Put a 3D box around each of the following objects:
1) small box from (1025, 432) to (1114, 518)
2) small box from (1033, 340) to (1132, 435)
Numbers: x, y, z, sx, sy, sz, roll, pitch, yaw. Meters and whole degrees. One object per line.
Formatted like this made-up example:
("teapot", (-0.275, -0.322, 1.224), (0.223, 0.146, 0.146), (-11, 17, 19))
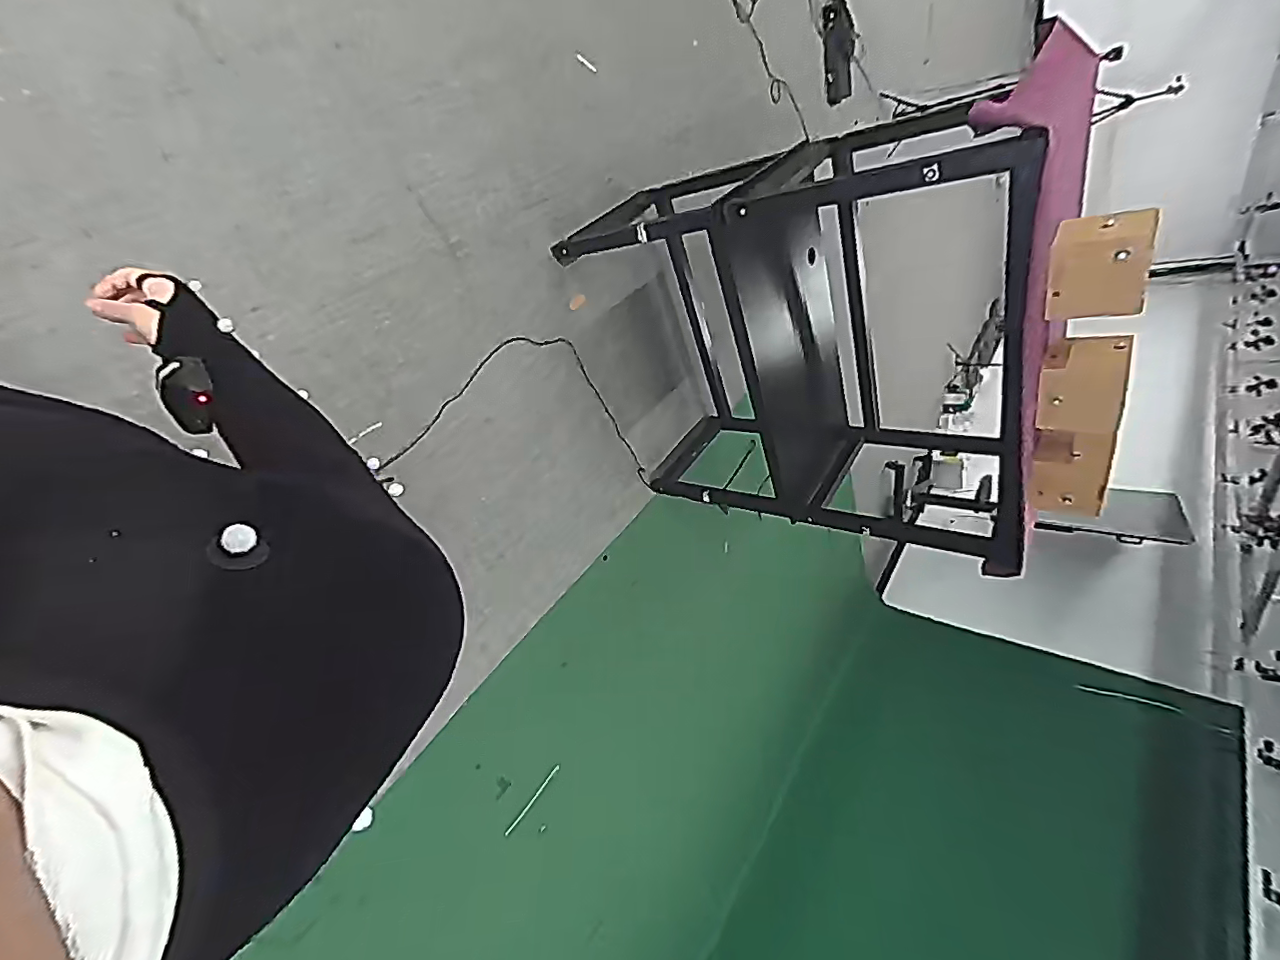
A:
("small box", (1.187, -0.019, 1.500), (0.179, 0.176, 0.168), (-44, 128, -35))
("small box", (1.096, -0.235, 1.348), (0.168, 0.176, 0.179), (-48, 131, -34))
